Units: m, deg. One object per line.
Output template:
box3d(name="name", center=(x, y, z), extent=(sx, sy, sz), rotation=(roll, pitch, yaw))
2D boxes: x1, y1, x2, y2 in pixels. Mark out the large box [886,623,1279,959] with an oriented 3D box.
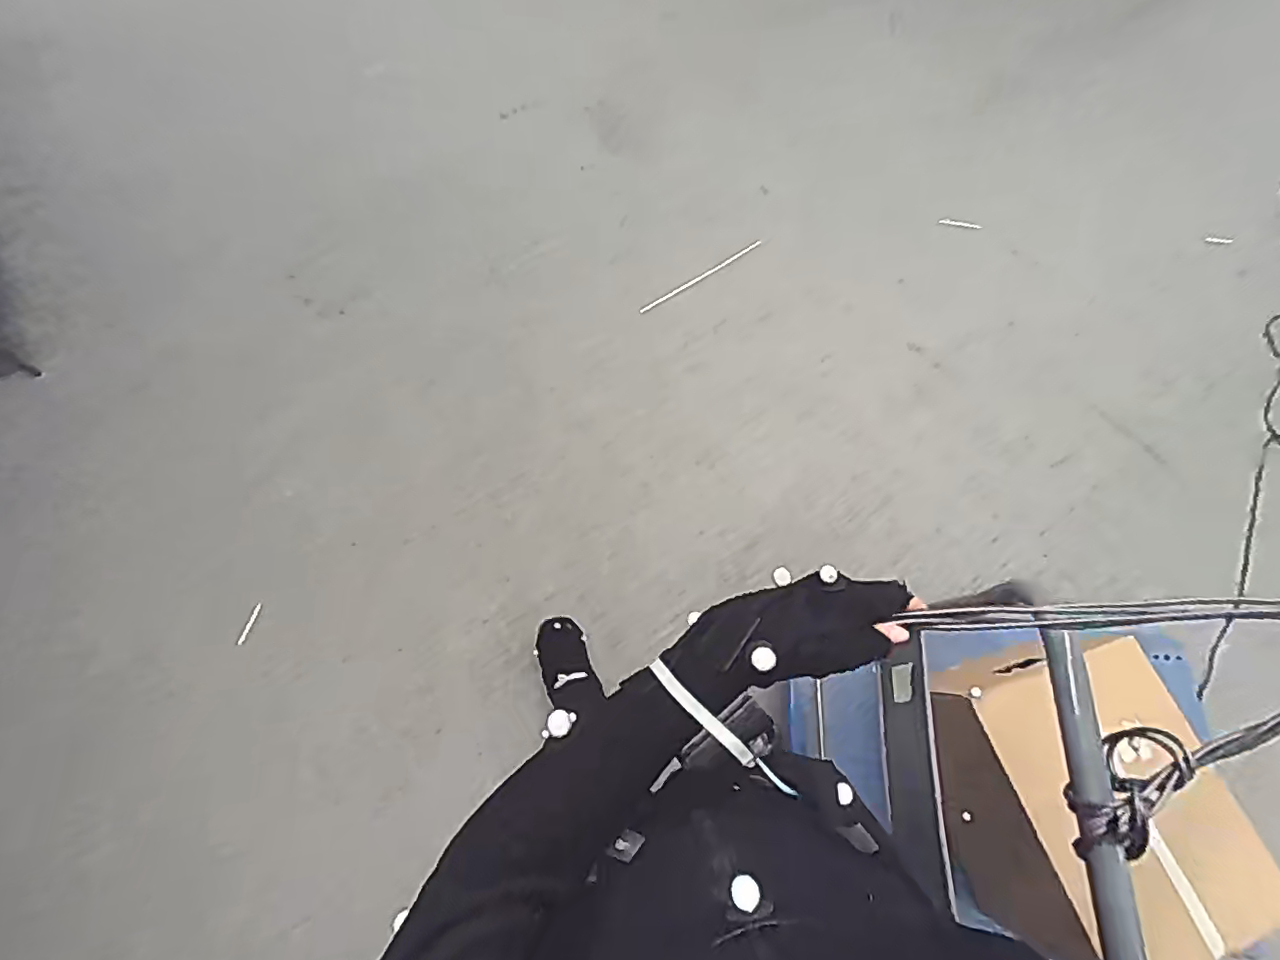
box3d(name="large box", center=(0.725, 0.513, 0.969), extent=(0.320, 0.320, 0.408), rotation=(-17, 70, -8))
